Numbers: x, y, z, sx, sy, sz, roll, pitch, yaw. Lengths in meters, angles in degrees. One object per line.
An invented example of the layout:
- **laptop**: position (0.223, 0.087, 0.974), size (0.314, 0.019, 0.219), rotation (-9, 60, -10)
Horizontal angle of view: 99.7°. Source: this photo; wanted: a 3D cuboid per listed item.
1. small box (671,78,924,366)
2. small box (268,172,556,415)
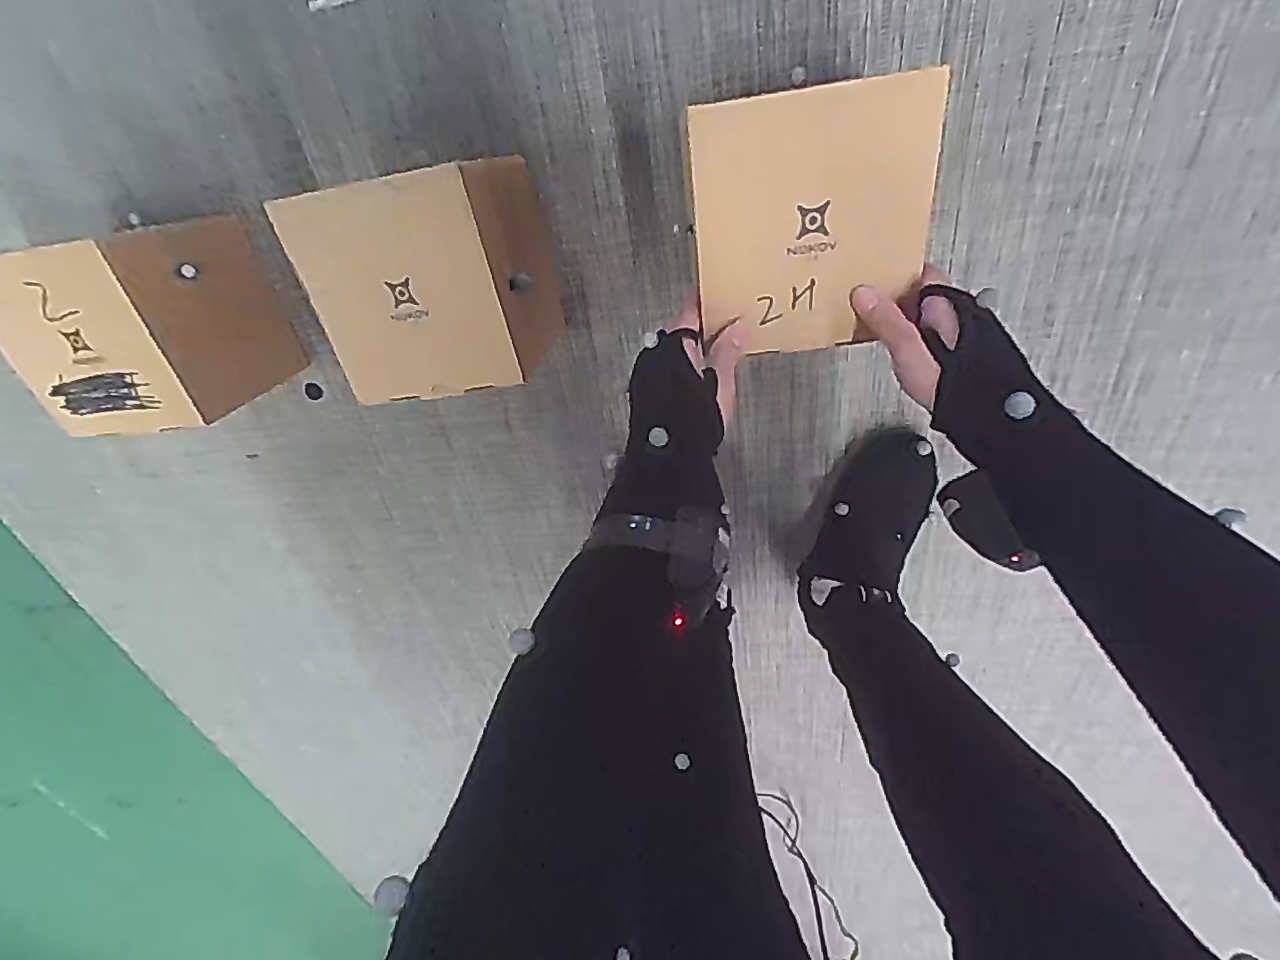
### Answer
- **small box**: position (0.115, -0.215, 0.459), size (0.168, 0.176, 0.179), rotation (-5, 123, 8)
- **small box**: position (-0.194, -0.186, 0.523), size (0.168, 0.176, 0.179), rotation (-6, 123, 11)
